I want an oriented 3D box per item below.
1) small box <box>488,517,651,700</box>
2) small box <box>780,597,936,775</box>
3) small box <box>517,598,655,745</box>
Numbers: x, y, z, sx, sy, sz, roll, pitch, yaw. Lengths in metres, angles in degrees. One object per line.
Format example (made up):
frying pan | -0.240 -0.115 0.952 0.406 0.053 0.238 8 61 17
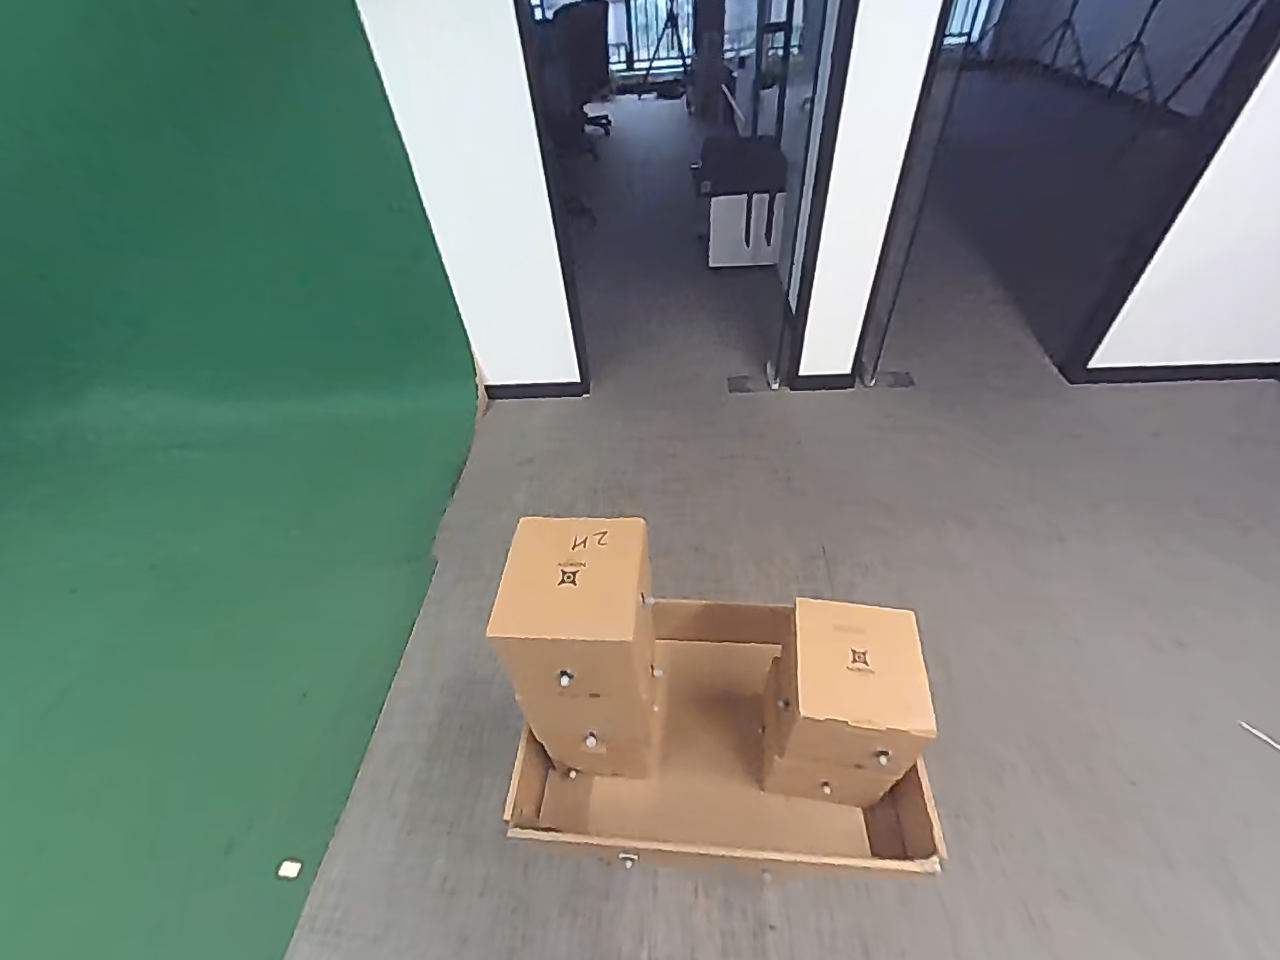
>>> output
small box | -0.075 0.168 0.703 0.168 0.176 0.179 1 45 6
small box | 0.296 0.295 0.771 0.168 0.176 0.179 6 45 10
small box | -0.068 0.287 0.819 0.179 0.176 0.168 0 45 5
